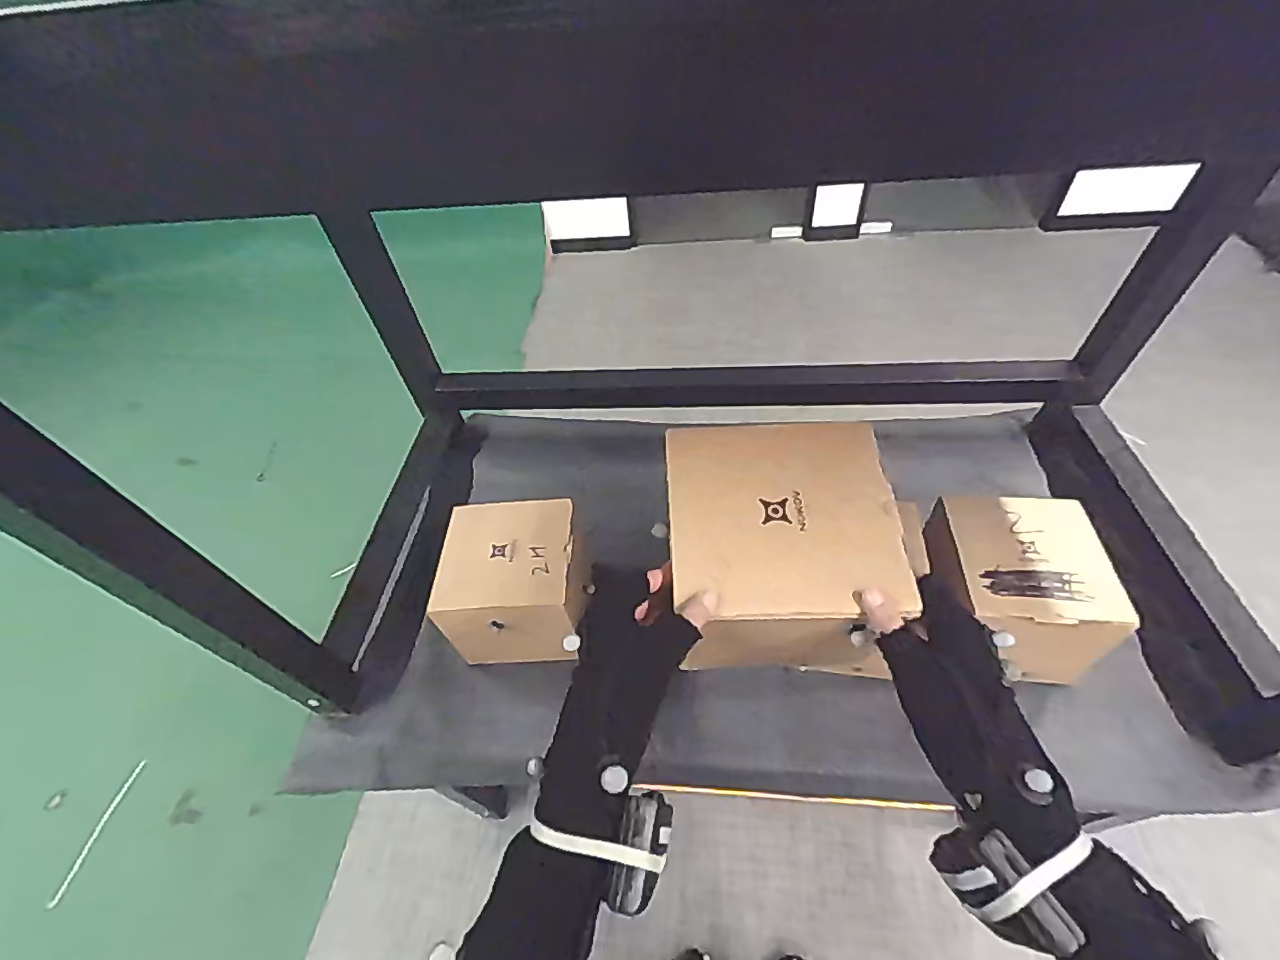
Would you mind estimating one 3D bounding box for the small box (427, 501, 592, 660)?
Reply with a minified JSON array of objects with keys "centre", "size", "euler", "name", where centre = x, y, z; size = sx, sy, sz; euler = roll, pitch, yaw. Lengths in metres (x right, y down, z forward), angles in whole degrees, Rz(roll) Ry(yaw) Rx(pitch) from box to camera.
[{"centre":[-0.172,0.148,0.775],"size":[0.179,0.176,0.168],"euler":[-3,50,3],"name":"small box"}]
